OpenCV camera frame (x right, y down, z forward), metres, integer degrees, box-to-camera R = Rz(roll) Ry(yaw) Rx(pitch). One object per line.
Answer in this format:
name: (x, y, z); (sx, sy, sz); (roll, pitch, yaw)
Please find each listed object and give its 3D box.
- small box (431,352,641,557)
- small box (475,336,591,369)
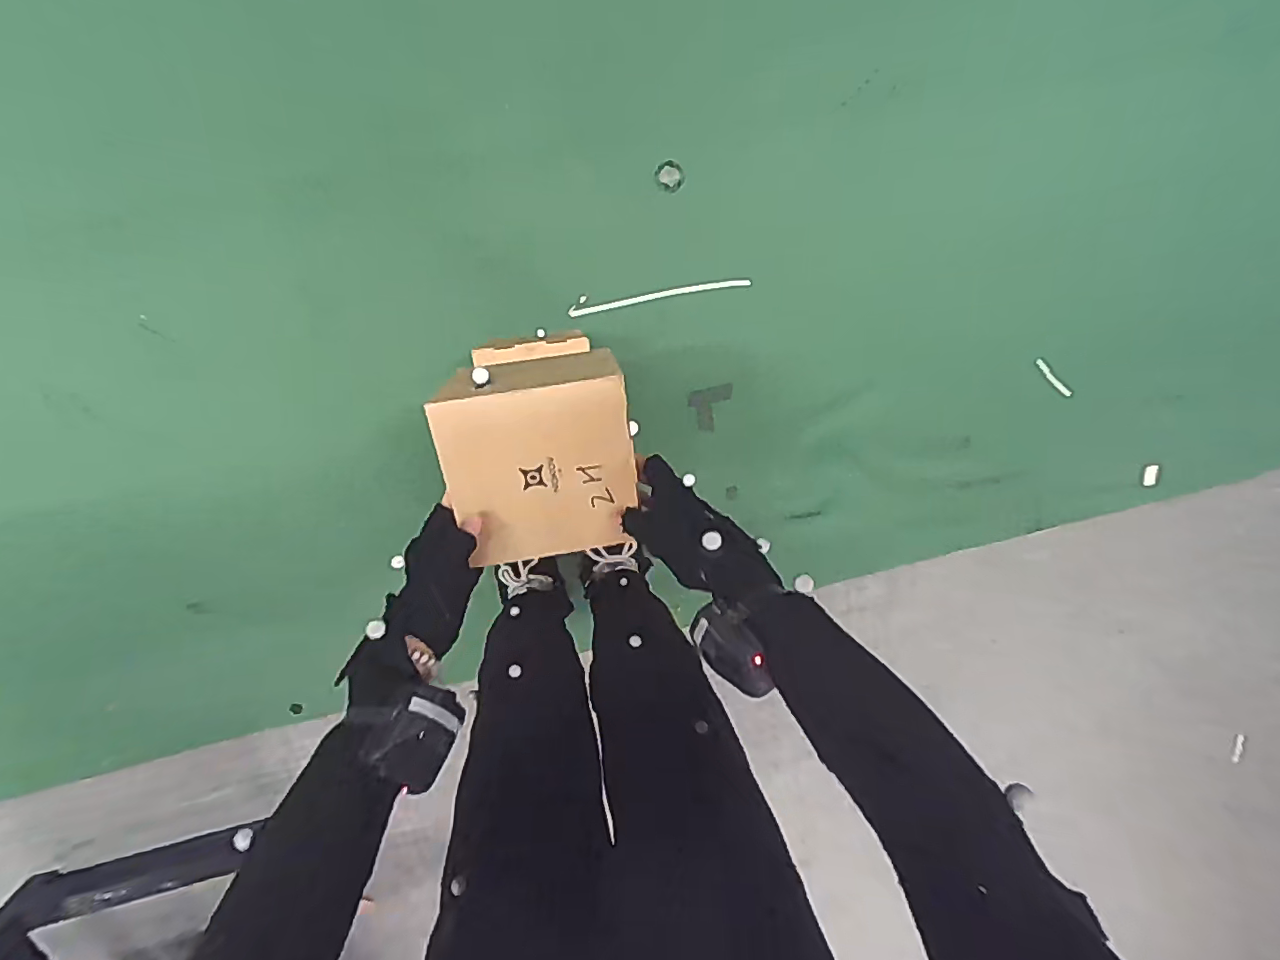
small box: (-0.100, -0.038, 0.582); (0.179, 0.176, 0.168); (-9, 112, -5)
small box: (-0.155, -0.130, 0.866); (0.168, 0.176, 0.179); (-8, 108, -6)
